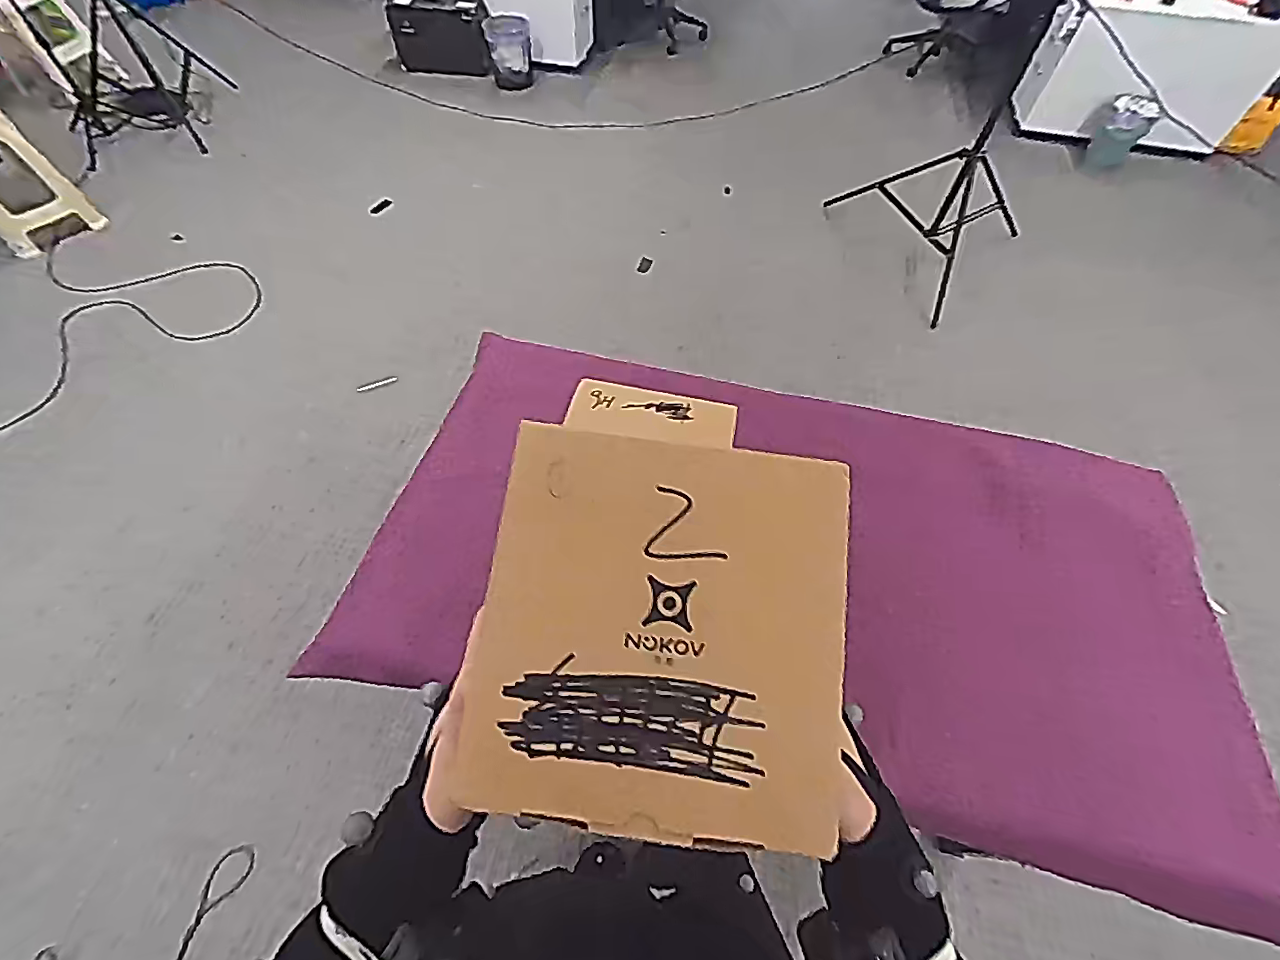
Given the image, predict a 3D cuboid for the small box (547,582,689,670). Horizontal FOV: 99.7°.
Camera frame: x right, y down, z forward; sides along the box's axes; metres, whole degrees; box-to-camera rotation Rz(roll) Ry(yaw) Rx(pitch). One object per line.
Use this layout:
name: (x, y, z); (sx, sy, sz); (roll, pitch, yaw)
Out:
small box: (-0.008, 0.130, 0.711); (0.168, 0.176, 0.179); (13, 56, 6)

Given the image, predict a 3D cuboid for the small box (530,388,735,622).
small box: (-0.002, 0.033, 0.578); (0.168, 0.176, 0.179); (11, 56, 5)
